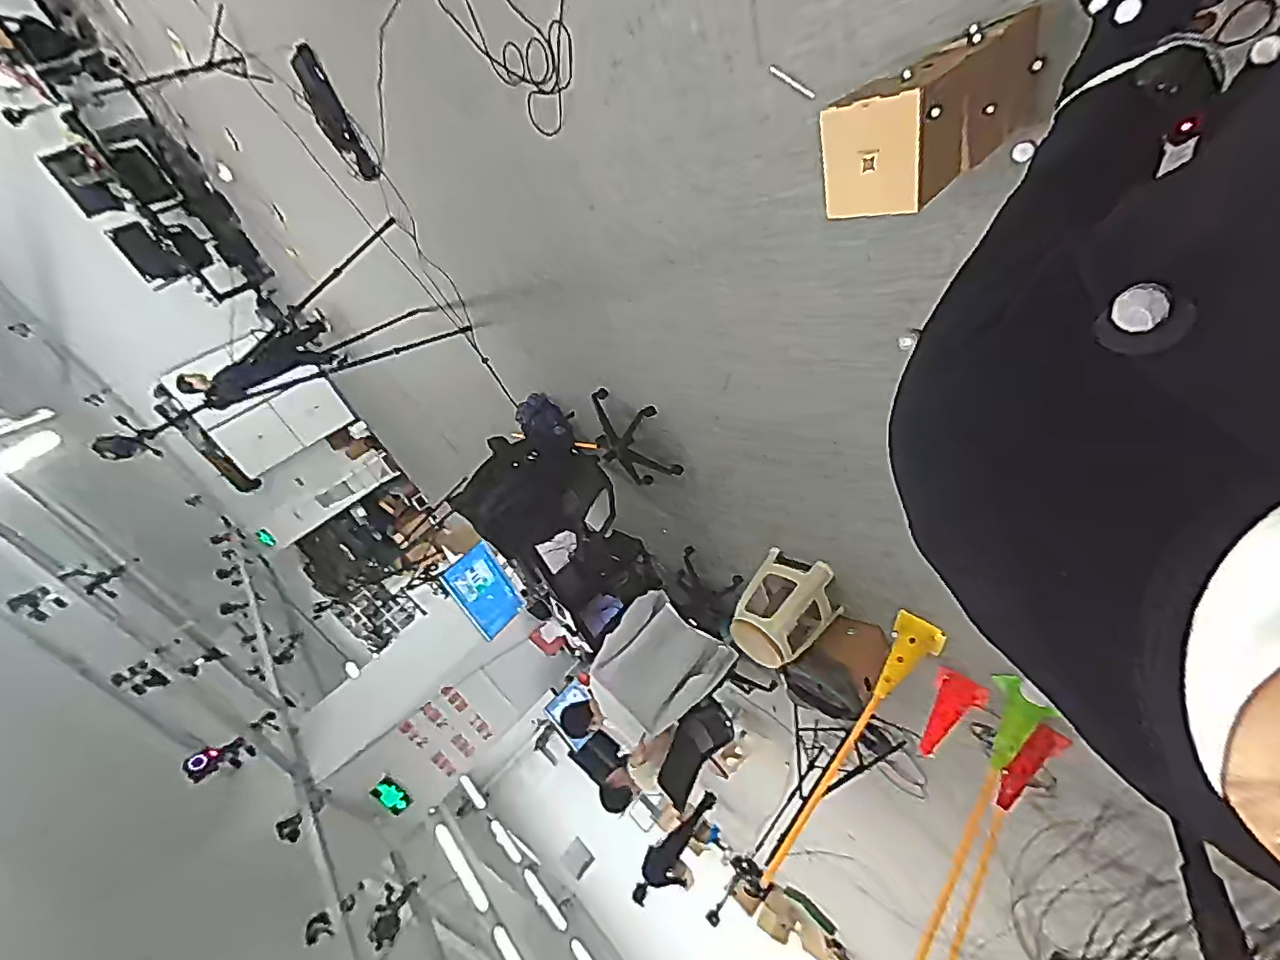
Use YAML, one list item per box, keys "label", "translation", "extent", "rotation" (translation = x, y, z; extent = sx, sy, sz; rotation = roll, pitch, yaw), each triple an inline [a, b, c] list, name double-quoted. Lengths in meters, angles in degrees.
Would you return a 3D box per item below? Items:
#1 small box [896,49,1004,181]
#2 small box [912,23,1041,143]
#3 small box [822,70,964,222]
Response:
- label: "small box"
  translation: [0.555, -0.665, 1.005]
  extent: [0.168, 0.176, 0.179]
  rotation: [17, 141, 47]
- label: "small box"
  translation: [0.668, -0.767, 1.074]
  extent: [0.168, 0.176, 0.179]
  rotation: [17, 138, 51]
- label: "small box"
  translation: [0.440, -0.572, 0.939]
  extent: [0.168, 0.176, 0.179]
  rotation: [21, 142, 43]
